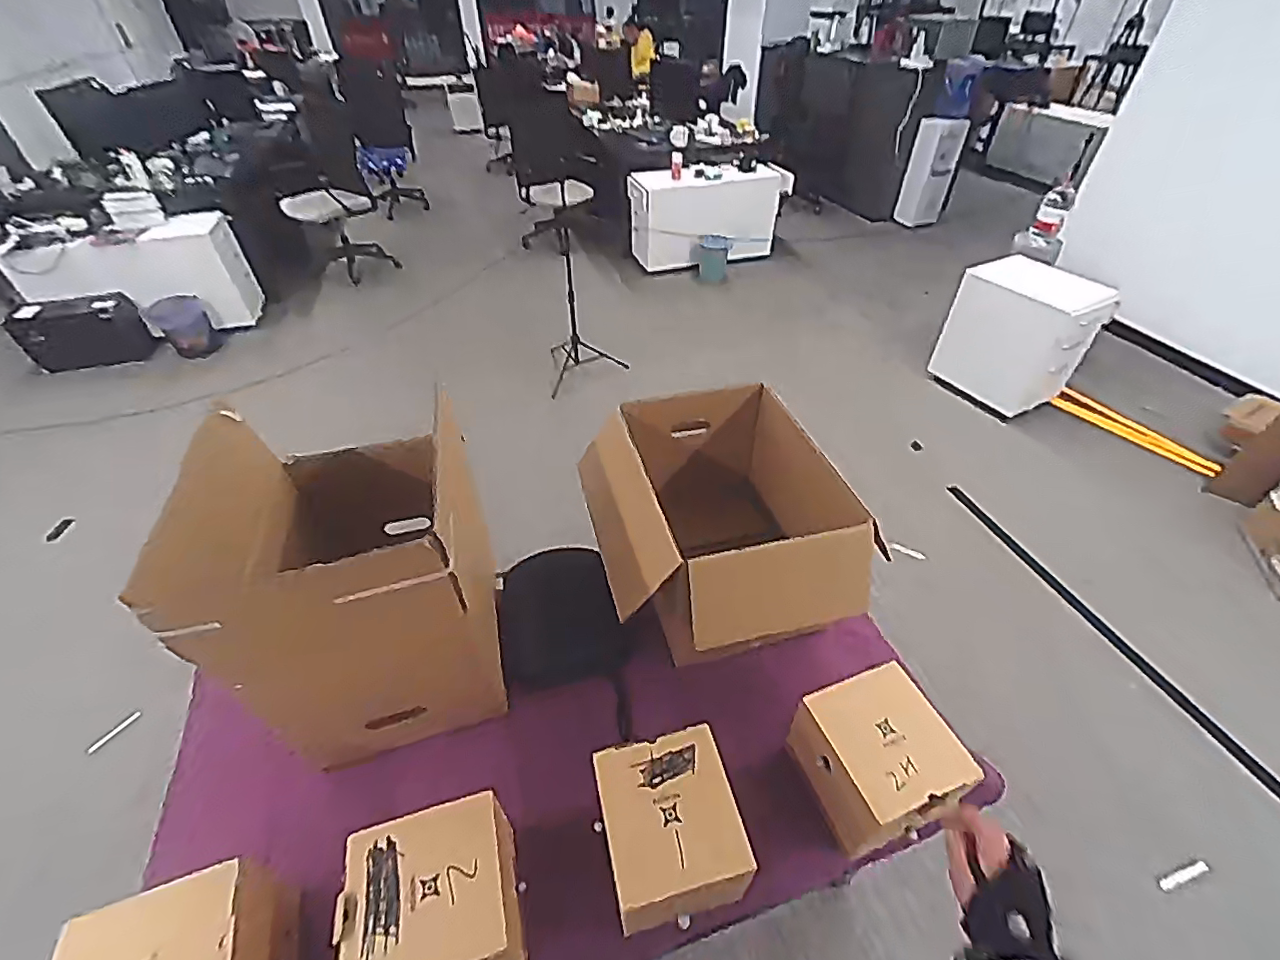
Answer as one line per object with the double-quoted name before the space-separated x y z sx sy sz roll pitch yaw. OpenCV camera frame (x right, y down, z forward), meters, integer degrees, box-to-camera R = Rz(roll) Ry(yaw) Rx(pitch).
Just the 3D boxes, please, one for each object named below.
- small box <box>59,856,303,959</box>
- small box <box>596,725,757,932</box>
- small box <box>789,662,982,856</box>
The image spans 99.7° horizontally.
"small box" -0.522 0.577 0.619 0.179 0.176 0.168 -14 44 -16
"small box" 0.038 0.467 0.729 0.168 0.176 0.179 -10 44 -10
"small box" 0.339 0.405 0.790 0.168 0.176 0.179 -15 45 -13
